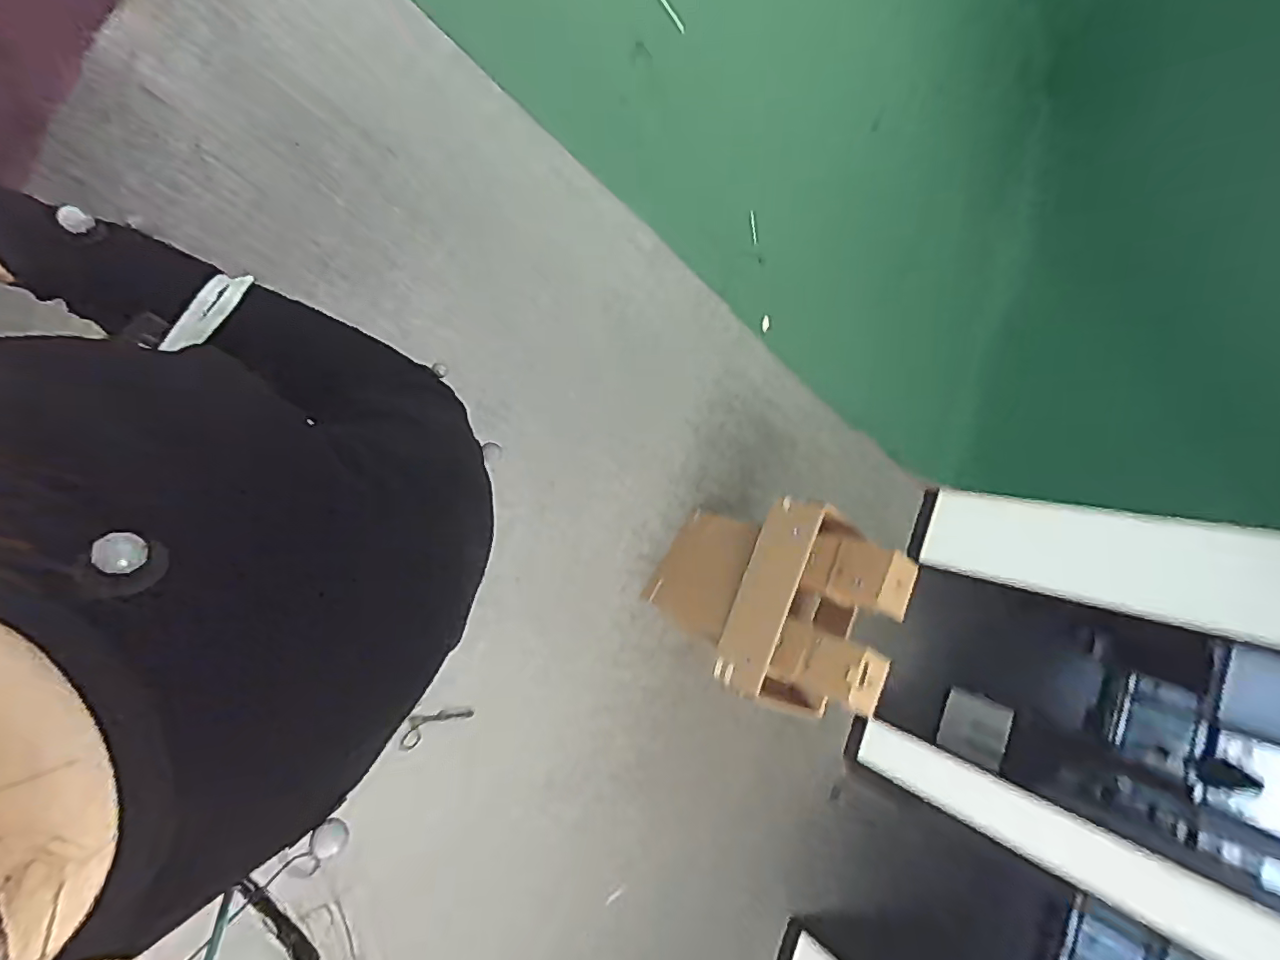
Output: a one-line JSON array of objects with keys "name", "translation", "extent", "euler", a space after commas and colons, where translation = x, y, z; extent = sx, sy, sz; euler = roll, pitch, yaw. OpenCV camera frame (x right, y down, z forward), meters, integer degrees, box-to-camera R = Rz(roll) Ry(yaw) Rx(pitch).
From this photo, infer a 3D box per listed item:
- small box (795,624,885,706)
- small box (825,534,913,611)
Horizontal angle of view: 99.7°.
[{"name": "small box", "translation": [0.588, 0.542, 1.601], "extent": [0.179, 0.176, 0.168], "euler": [33, 77, -38]}, {"name": "small box", "translation": [0.689, 0.274, 1.638], "extent": [0.179, 0.176, 0.168], "euler": [31, 79, -38]}]
